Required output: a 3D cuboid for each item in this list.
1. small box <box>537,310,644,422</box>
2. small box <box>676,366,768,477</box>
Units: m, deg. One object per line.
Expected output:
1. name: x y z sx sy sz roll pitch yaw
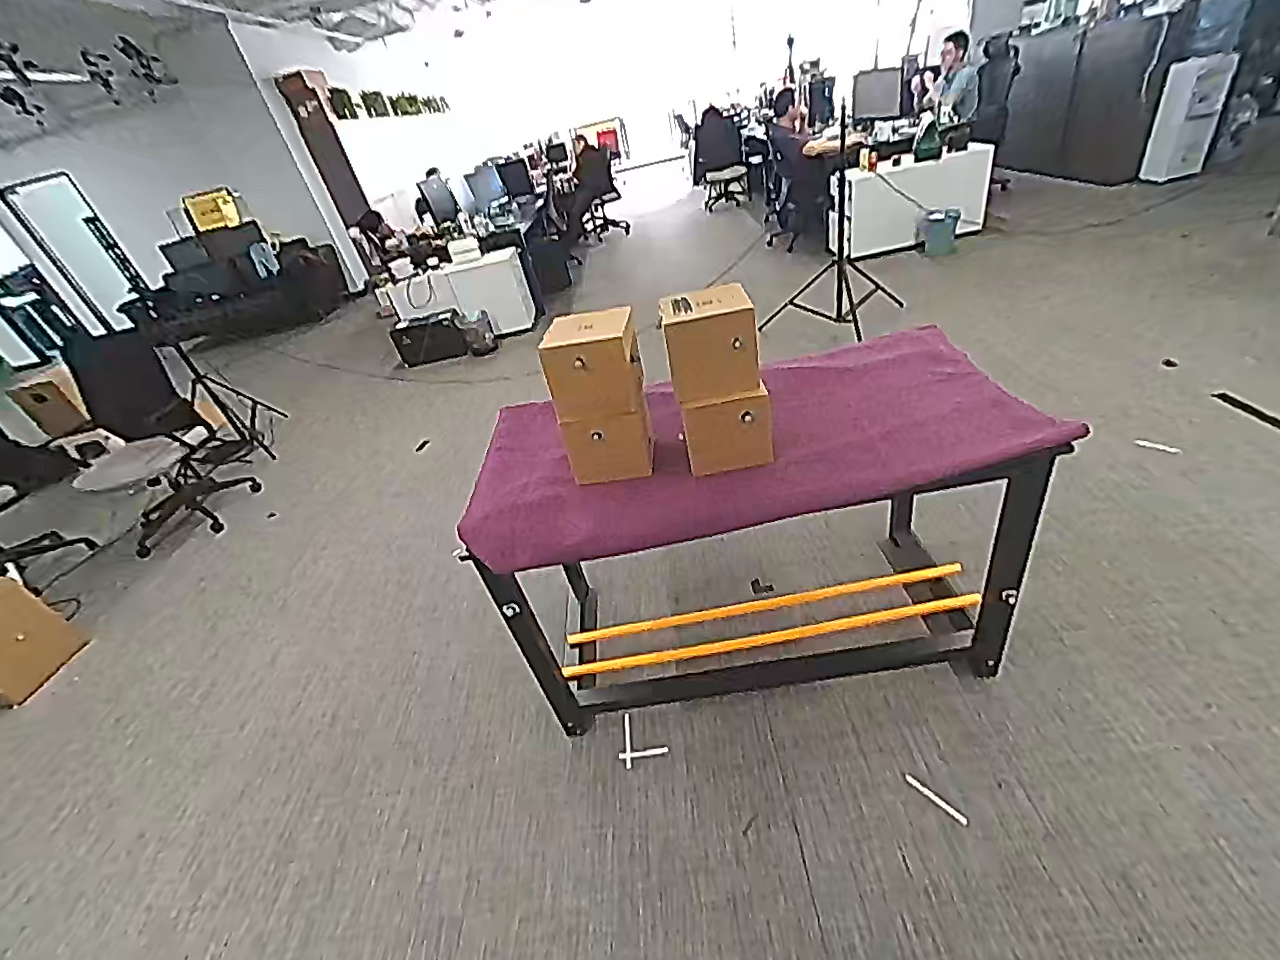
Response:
1. small box: -0.095 -0.241 1.149 0.179 0.176 0.168 -6 35 12
2. small box: 0.180 -0.128 1.183 0.179 0.176 0.168 -10 34 5
